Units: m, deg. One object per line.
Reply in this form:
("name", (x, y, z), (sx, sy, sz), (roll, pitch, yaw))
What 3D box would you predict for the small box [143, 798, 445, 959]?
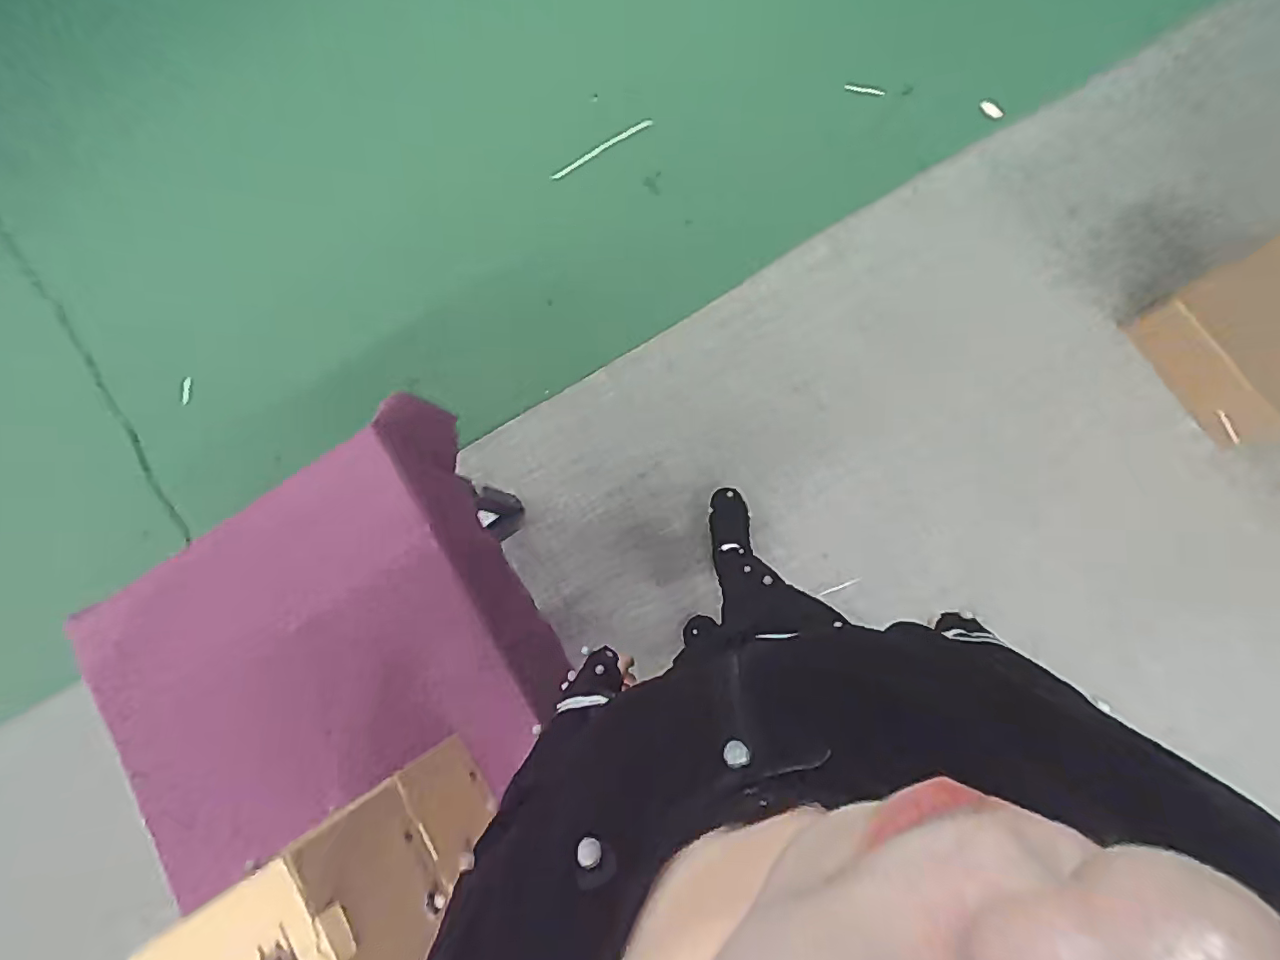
("small box", (-0.319, 0.455, 0.527), (0.179, 0.176, 0.168), (-35, 78, 2))
